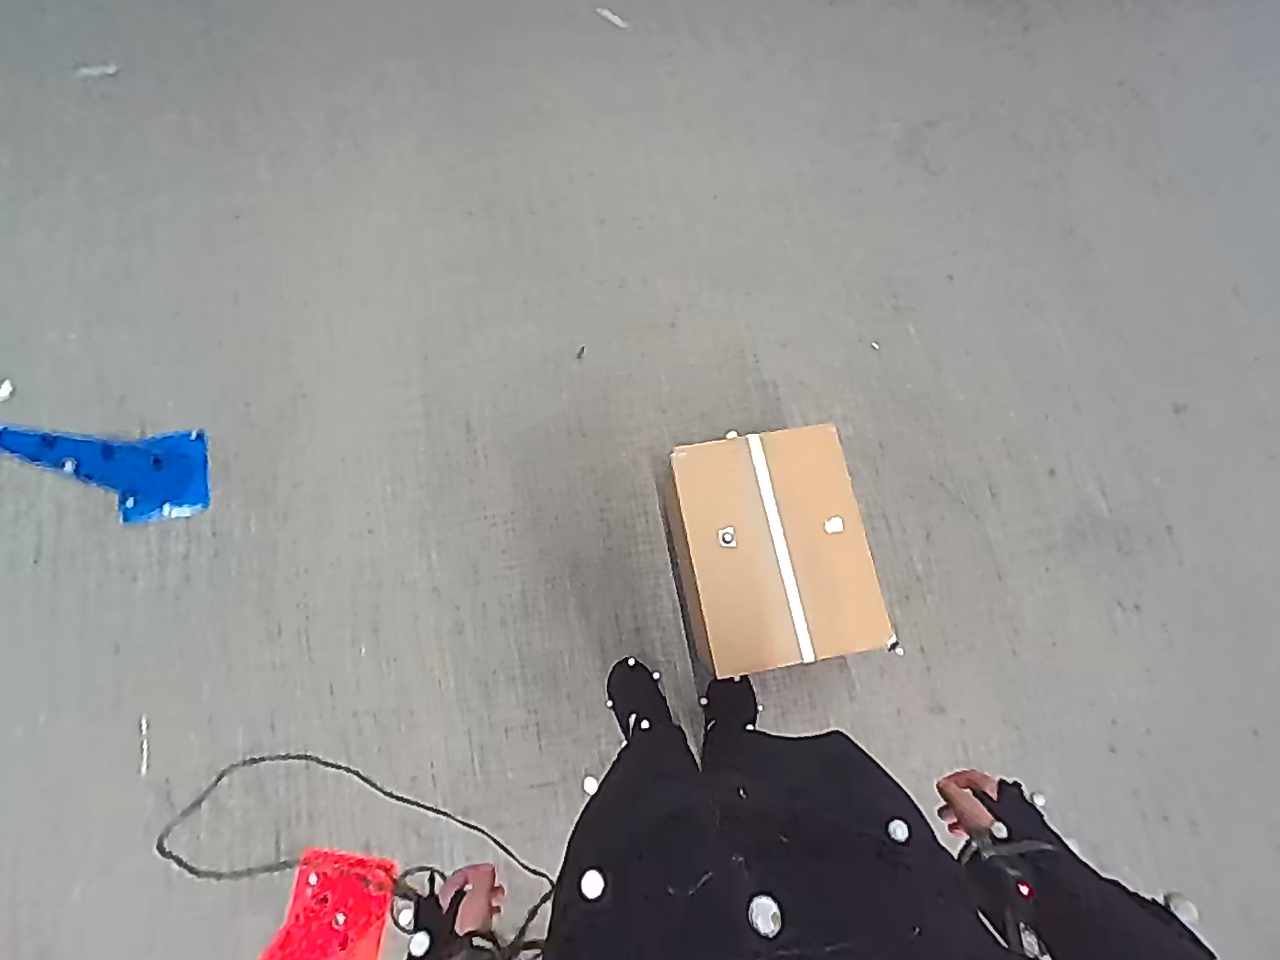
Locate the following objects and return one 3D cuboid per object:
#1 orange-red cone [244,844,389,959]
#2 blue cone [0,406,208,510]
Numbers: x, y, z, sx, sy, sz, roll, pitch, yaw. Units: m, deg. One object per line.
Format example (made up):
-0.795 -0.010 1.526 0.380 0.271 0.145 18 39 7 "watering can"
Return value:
-0.617 0.818 0.911 0.198 0.360 0.199 10 80 3 "orange-red cone"
-1.109 -0.063 1.108 0.193 0.380 0.192 -9 78 -2 "blue cone"
